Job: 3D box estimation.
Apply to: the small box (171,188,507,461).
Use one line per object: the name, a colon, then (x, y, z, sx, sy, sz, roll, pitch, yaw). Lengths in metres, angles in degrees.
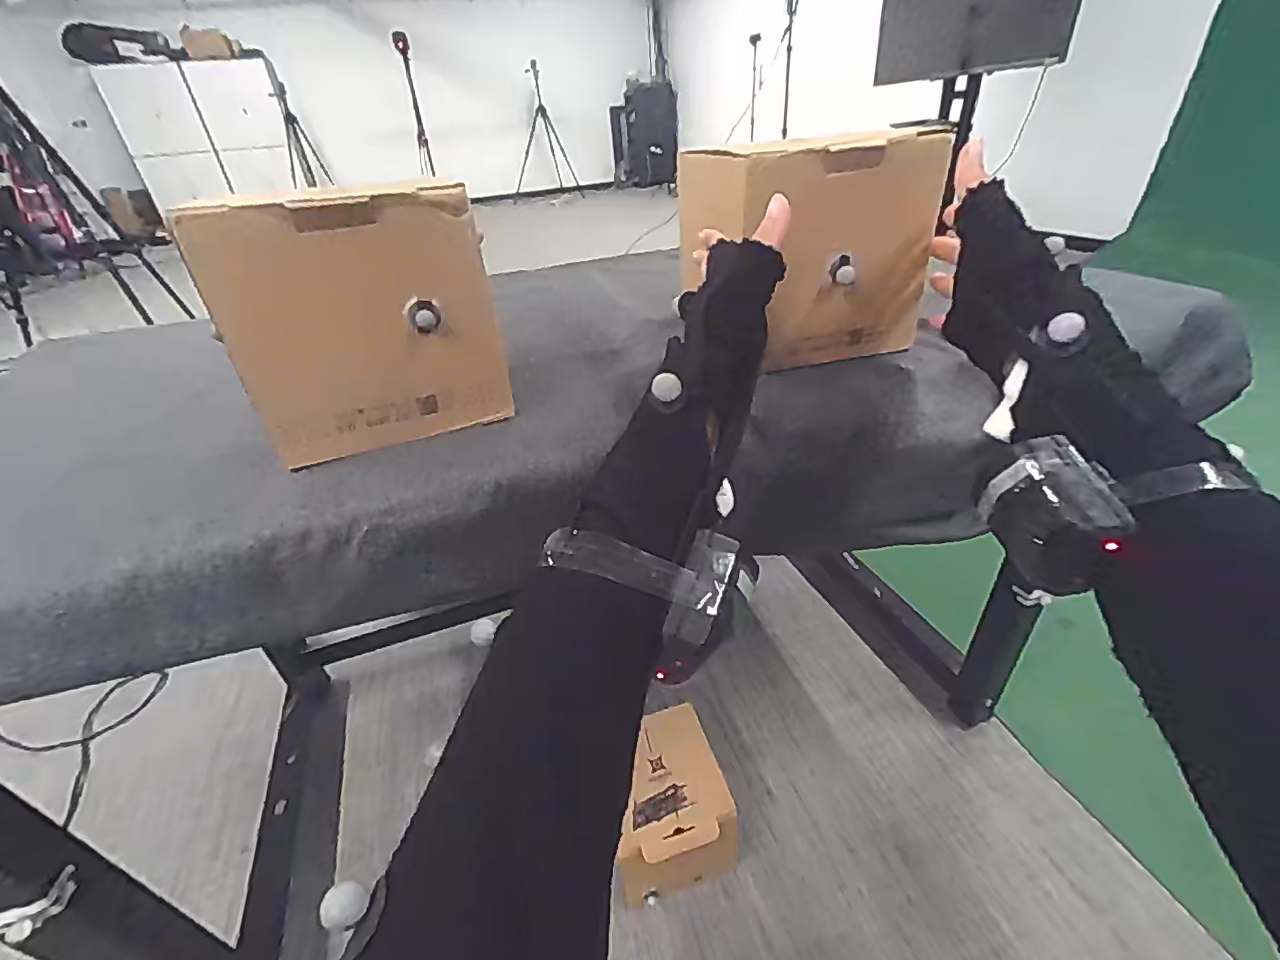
small box: (-0.215, -0.128, 0.432, 0.168, 0.176, 0.179, -16, 32, -18)

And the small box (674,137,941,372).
small box: (0.136, -0.208, 0.502, 0.168, 0.176, 0.179, -11, 34, -8)

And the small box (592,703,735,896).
small box: (0.035, 0.476, 0.804, 0.168, 0.176, 0.179, -13, 33, -11)
